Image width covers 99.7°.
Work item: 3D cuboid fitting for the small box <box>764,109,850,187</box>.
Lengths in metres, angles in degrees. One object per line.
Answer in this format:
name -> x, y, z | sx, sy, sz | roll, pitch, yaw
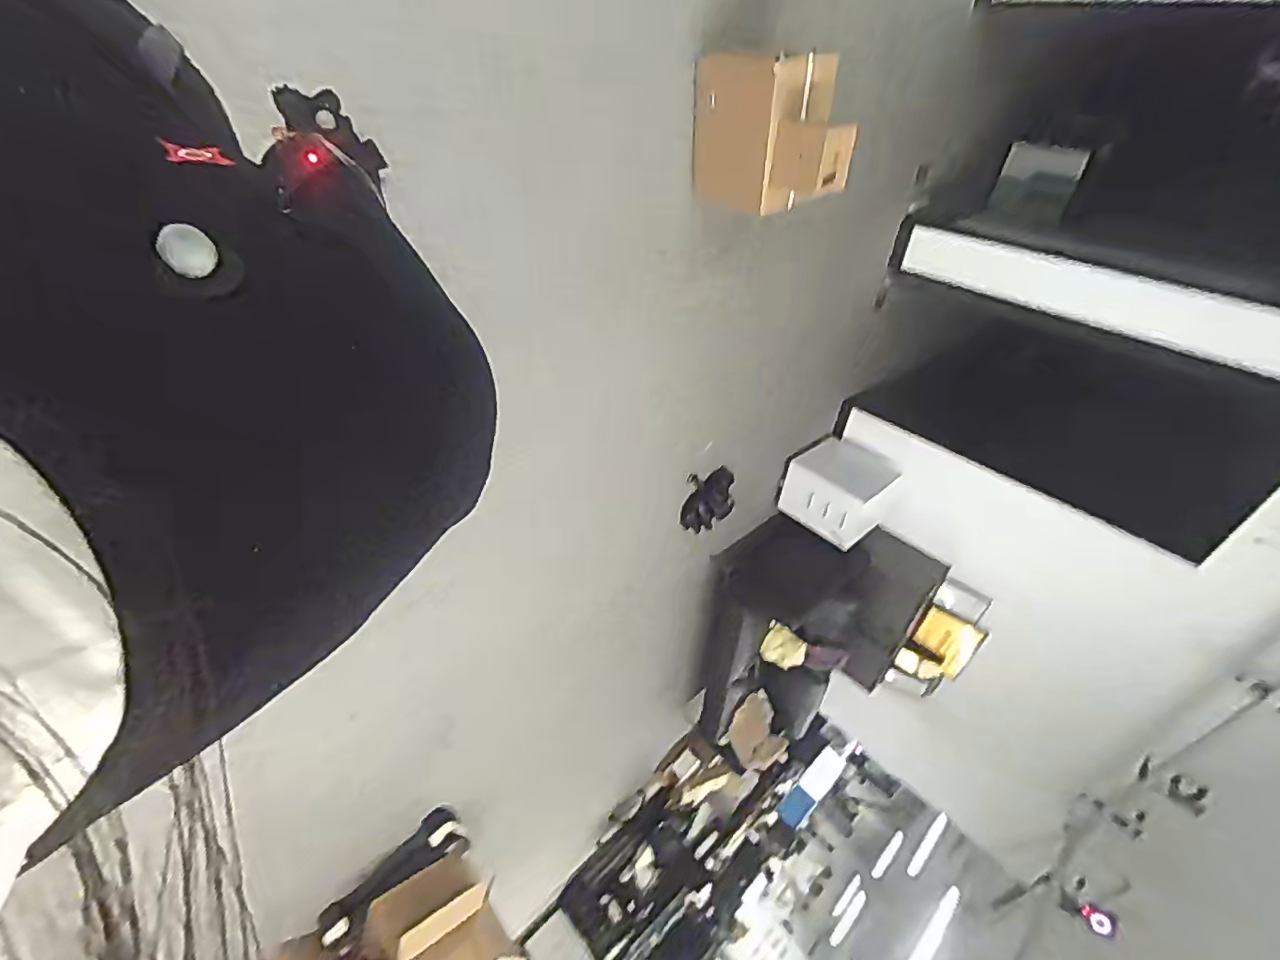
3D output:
small box -> 0.496, -1.006, 1.632 | 0.168, 0.176, 0.179 | -30, 138, -31
